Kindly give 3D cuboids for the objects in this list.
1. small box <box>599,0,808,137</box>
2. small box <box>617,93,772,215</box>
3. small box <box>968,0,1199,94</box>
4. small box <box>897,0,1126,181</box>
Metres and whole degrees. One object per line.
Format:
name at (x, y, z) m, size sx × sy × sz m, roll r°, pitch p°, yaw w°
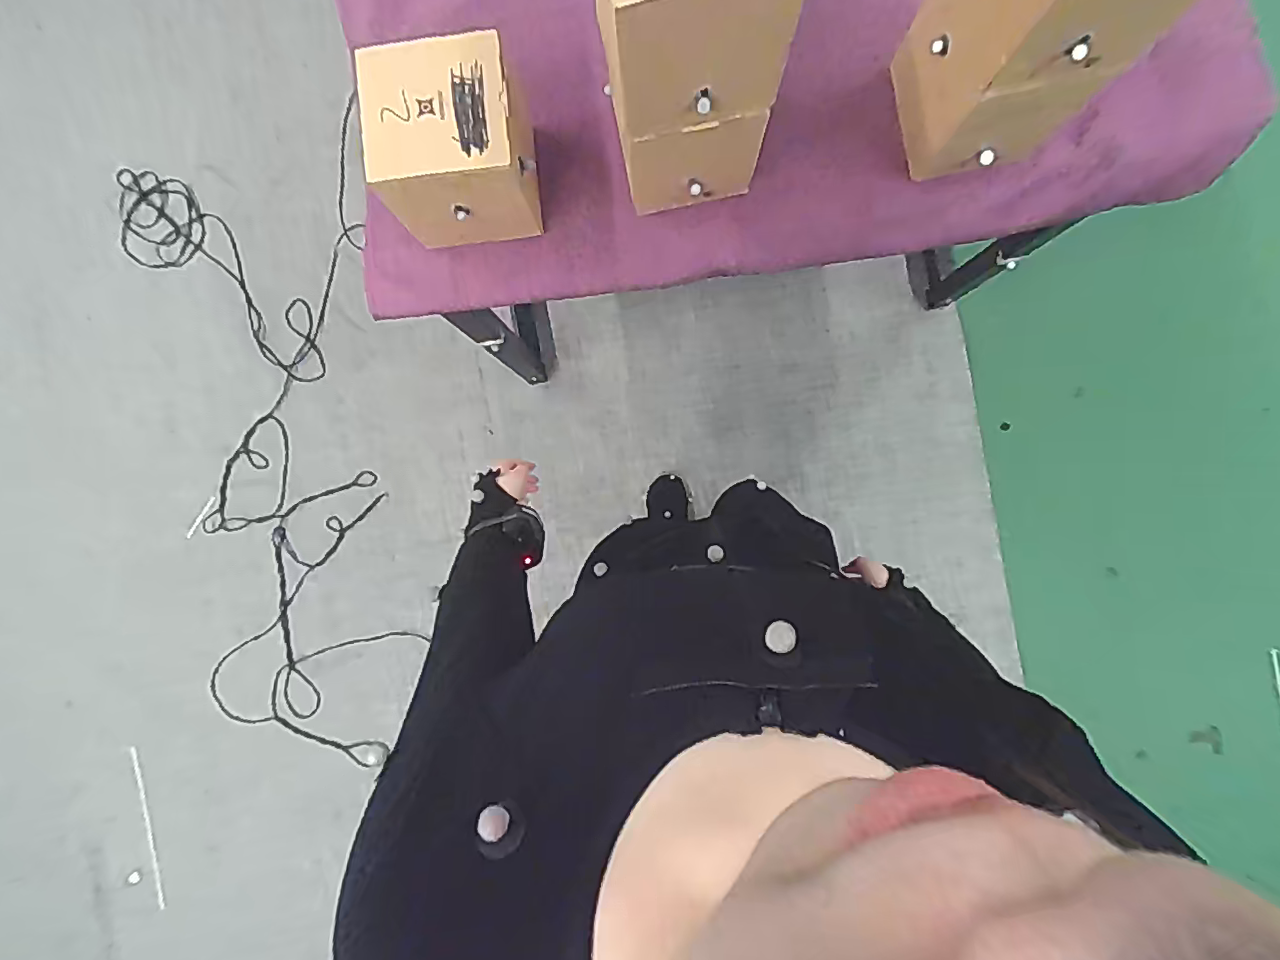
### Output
small box at (0.051, -0.485, 0.538) m, size 0.179 × 0.176 × 0.168 m, roll -12°, pitch 87°, yaw 1°
small box at (0.058, -0.483, 0.701) m, size 0.168 × 0.176 × 0.179 m, roll -12°, pitch 88°, yaw 2°
small box at (0.445, -0.530, 0.526) m, size 0.168 × 0.176 × 0.179 m, roll -10°, pitch 89°, yaw 2°
small box at (0.451, -0.522, 0.688) m, size 0.168 × 0.176 × 0.179 m, roll -10°, pitch 89°, yaw 2°
